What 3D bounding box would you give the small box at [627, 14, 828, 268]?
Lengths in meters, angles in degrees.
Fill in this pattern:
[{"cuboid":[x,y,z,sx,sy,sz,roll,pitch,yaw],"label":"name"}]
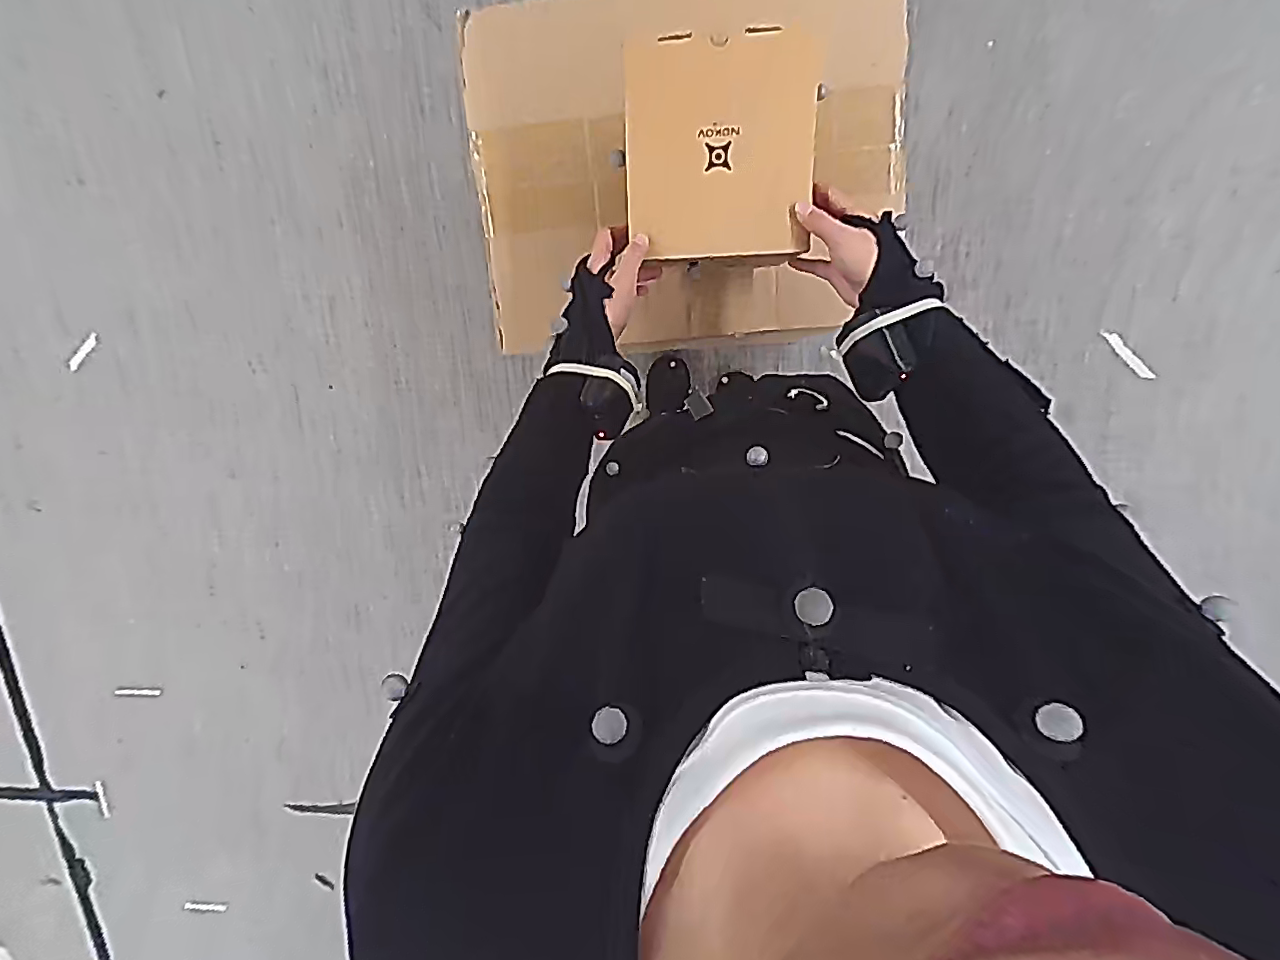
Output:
[{"cuboid":[0.081,-0.311,0.540,0.168,0.176,0.179,-1,105,6],"label":"small box"}]
